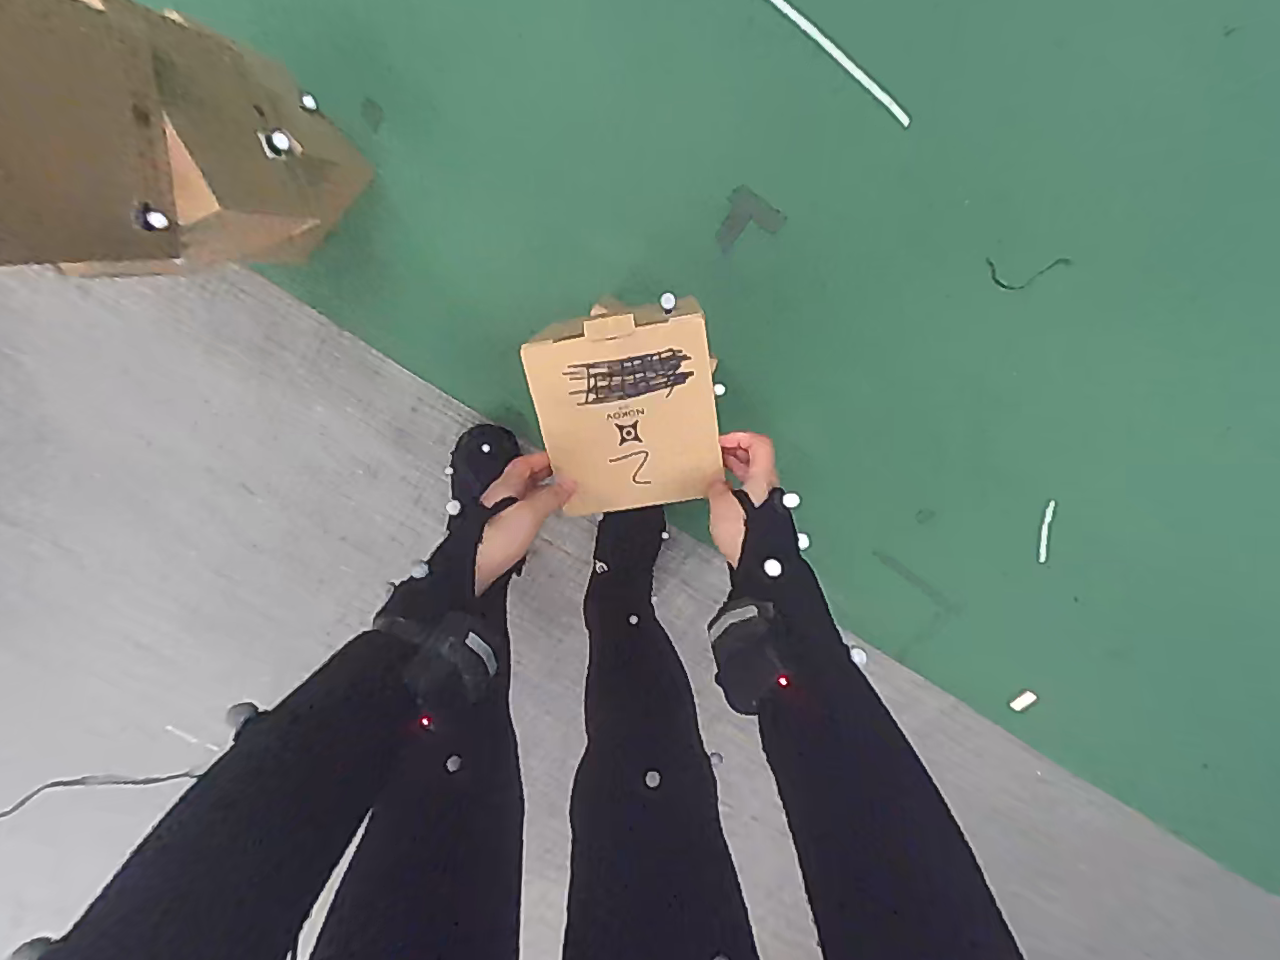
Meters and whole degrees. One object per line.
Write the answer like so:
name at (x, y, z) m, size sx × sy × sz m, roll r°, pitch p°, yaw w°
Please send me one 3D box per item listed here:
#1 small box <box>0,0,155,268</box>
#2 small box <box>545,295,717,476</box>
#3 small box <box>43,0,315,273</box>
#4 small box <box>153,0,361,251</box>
small box at (-0.468, -0.245, 0.351) m, size 0.179 × 0.176 × 0.168 m, roll 11°, pitch 115°, yaw -2°
small box at (-0.015, -0.138, 0.742) m, size 0.168 × 0.176 × 0.179 m, roll 23°, pitch 111°, yaw -9°
small box at (-0.457, -0.306, 0.503) m, size 0.179 × 0.176 × 0.168 m, roll -18°, pitch 113°, yaw 8°
small box at (-0.476, -0.392, 0.643) m, size 0.179 × 0.176 × 0.168 m, roll -37°, pitch 109°, yaw 16°
